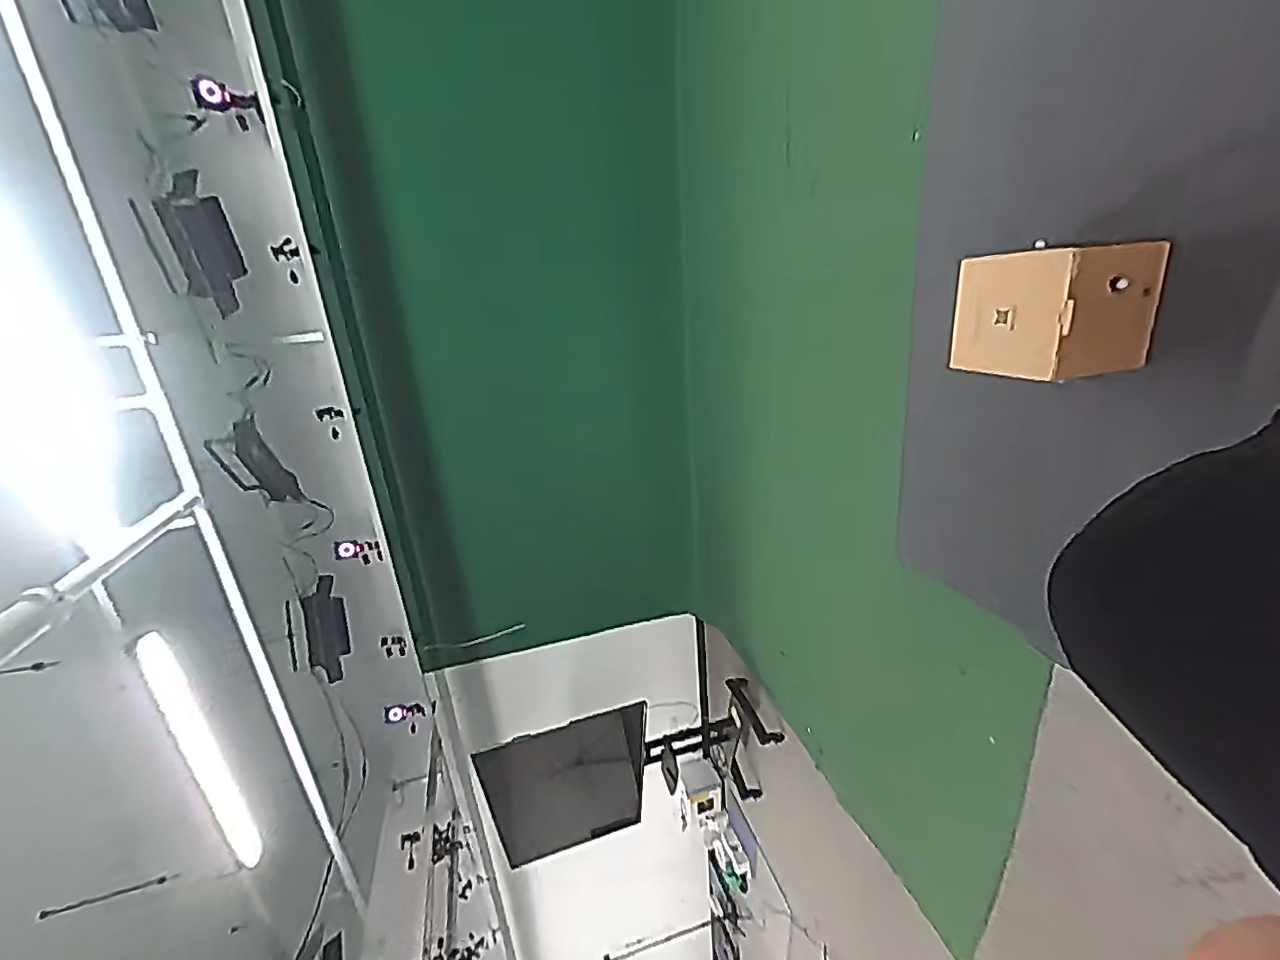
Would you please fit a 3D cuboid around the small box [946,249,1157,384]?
[{"bbox_3d":[0.596,-0.243,0.798,0.179,0.176,0.168,-133,38,-67],"label":"small box"}]
